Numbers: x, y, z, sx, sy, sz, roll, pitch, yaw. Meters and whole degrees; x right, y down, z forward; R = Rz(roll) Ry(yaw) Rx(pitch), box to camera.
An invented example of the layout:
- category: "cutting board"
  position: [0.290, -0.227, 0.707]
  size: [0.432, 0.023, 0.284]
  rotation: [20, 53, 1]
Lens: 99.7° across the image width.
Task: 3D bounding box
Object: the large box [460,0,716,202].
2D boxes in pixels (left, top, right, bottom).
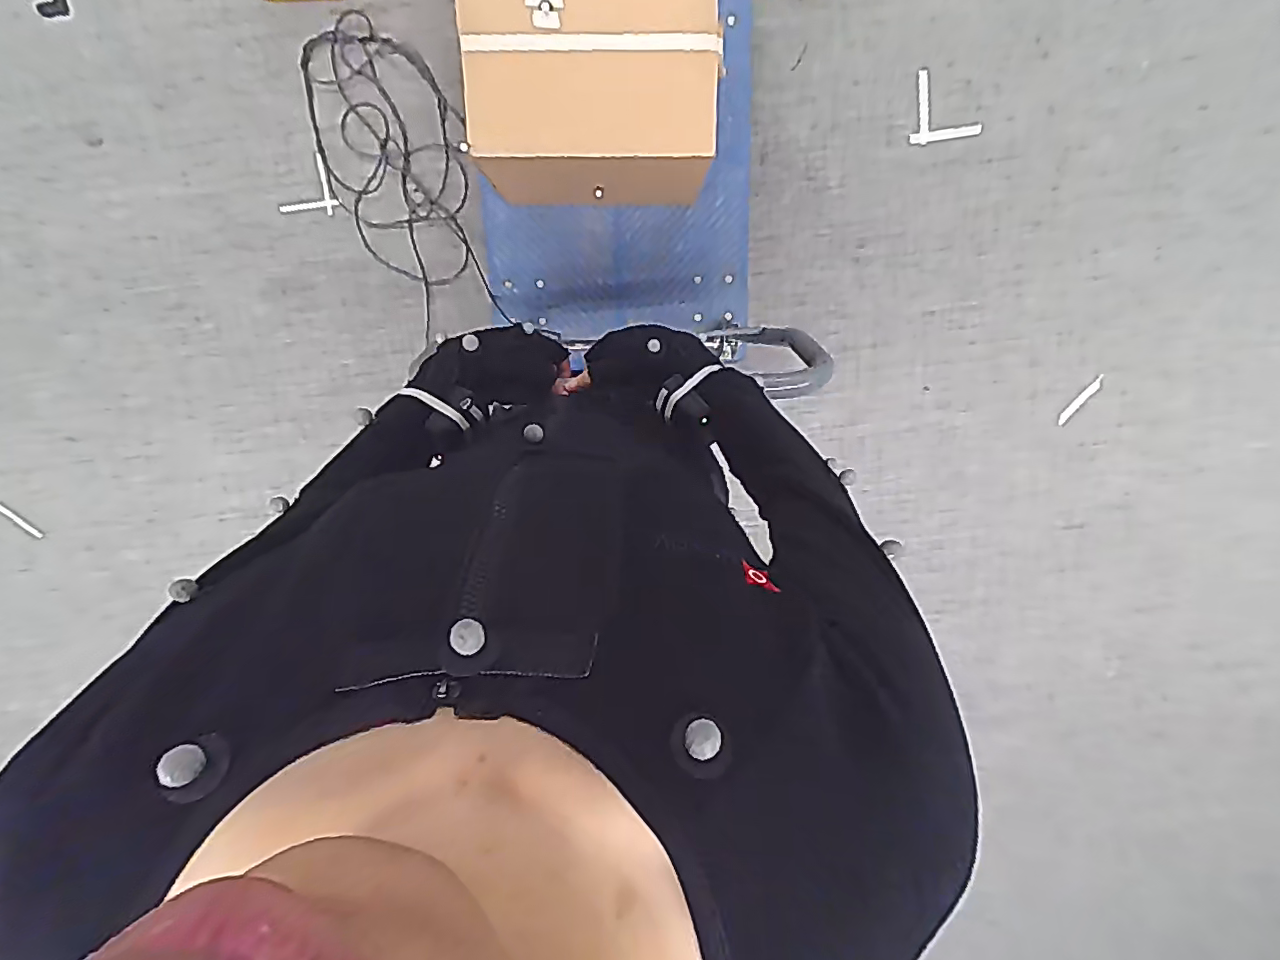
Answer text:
- category: "large box"
  position: [-0.079, -0.716, 0.994]
  size: [0.408, 0.320, 0.320]
  rotation: [-1, 103, 0]
